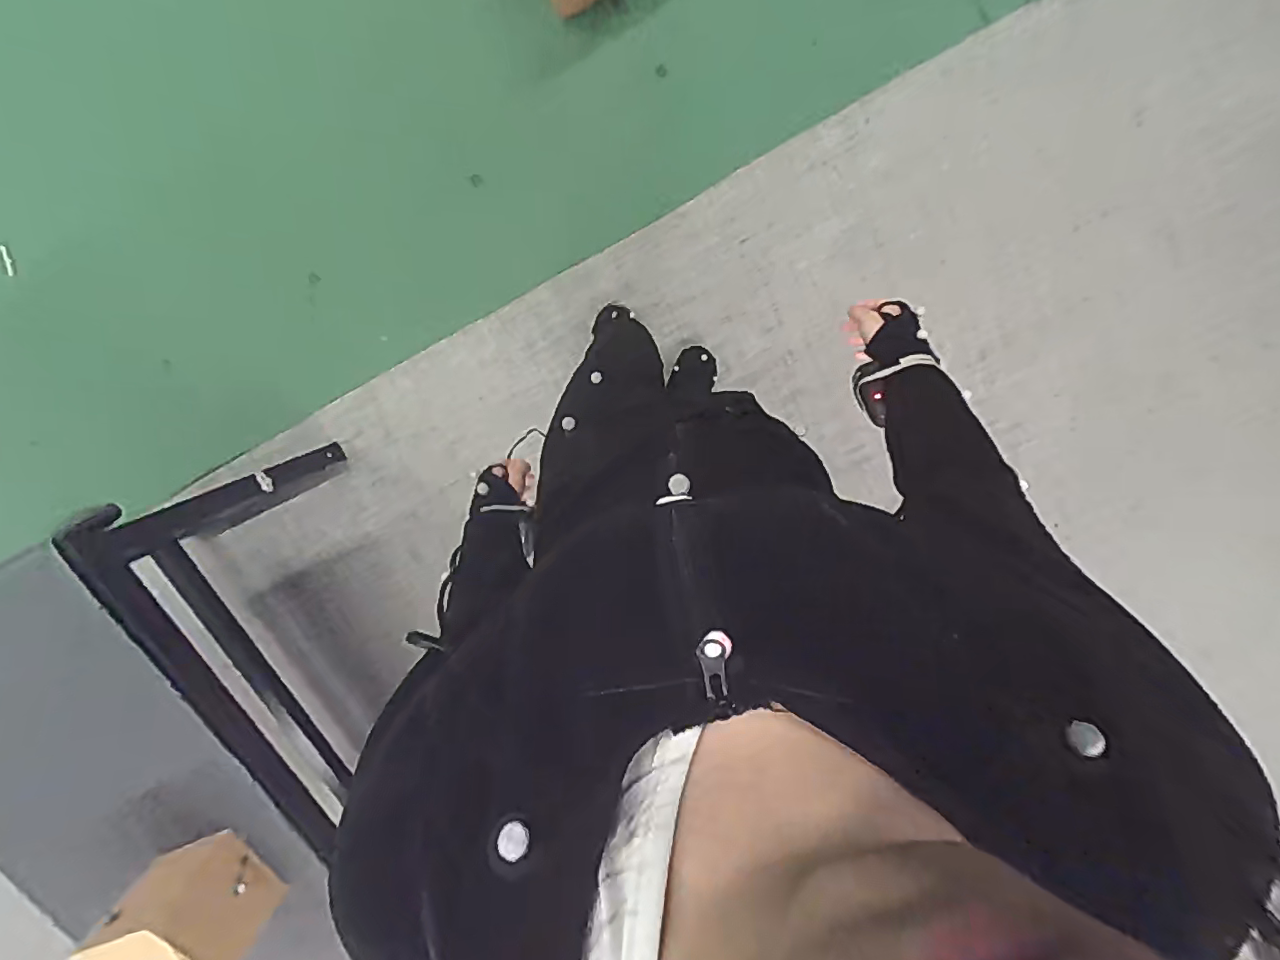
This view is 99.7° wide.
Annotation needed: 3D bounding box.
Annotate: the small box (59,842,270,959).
[{"bbox_3d":[-0.774,0.751,0.895,0.179,0.176,0.168,-25,104,9],"label":"small box"}]
